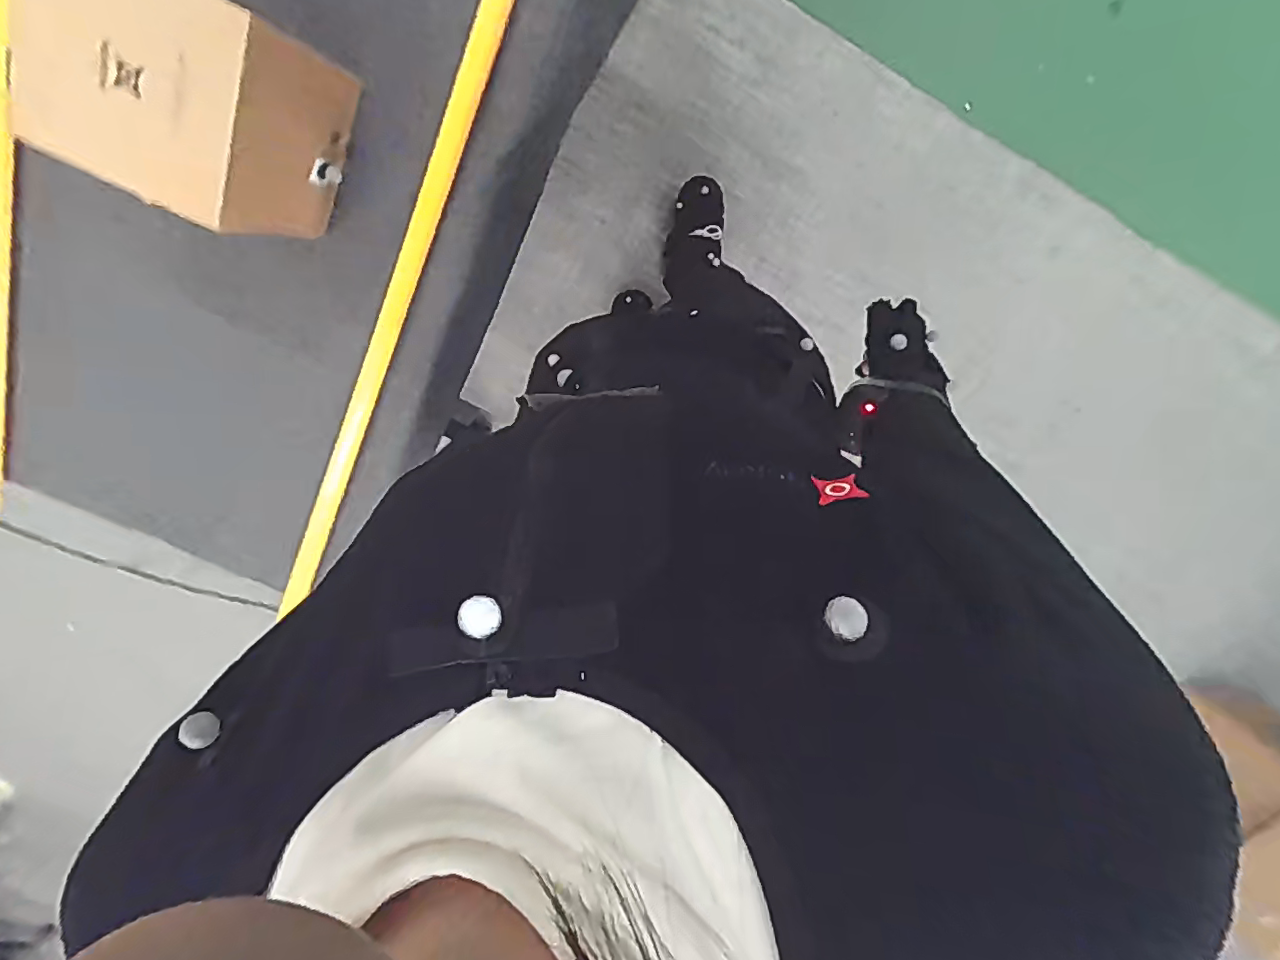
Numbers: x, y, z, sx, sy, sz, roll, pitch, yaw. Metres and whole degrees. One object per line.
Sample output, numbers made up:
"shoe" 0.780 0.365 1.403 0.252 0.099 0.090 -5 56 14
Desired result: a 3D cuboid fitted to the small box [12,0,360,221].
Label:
"small box" -0.399 -0.356 0.500 0.179 0.176 0.168 23 112 -8
